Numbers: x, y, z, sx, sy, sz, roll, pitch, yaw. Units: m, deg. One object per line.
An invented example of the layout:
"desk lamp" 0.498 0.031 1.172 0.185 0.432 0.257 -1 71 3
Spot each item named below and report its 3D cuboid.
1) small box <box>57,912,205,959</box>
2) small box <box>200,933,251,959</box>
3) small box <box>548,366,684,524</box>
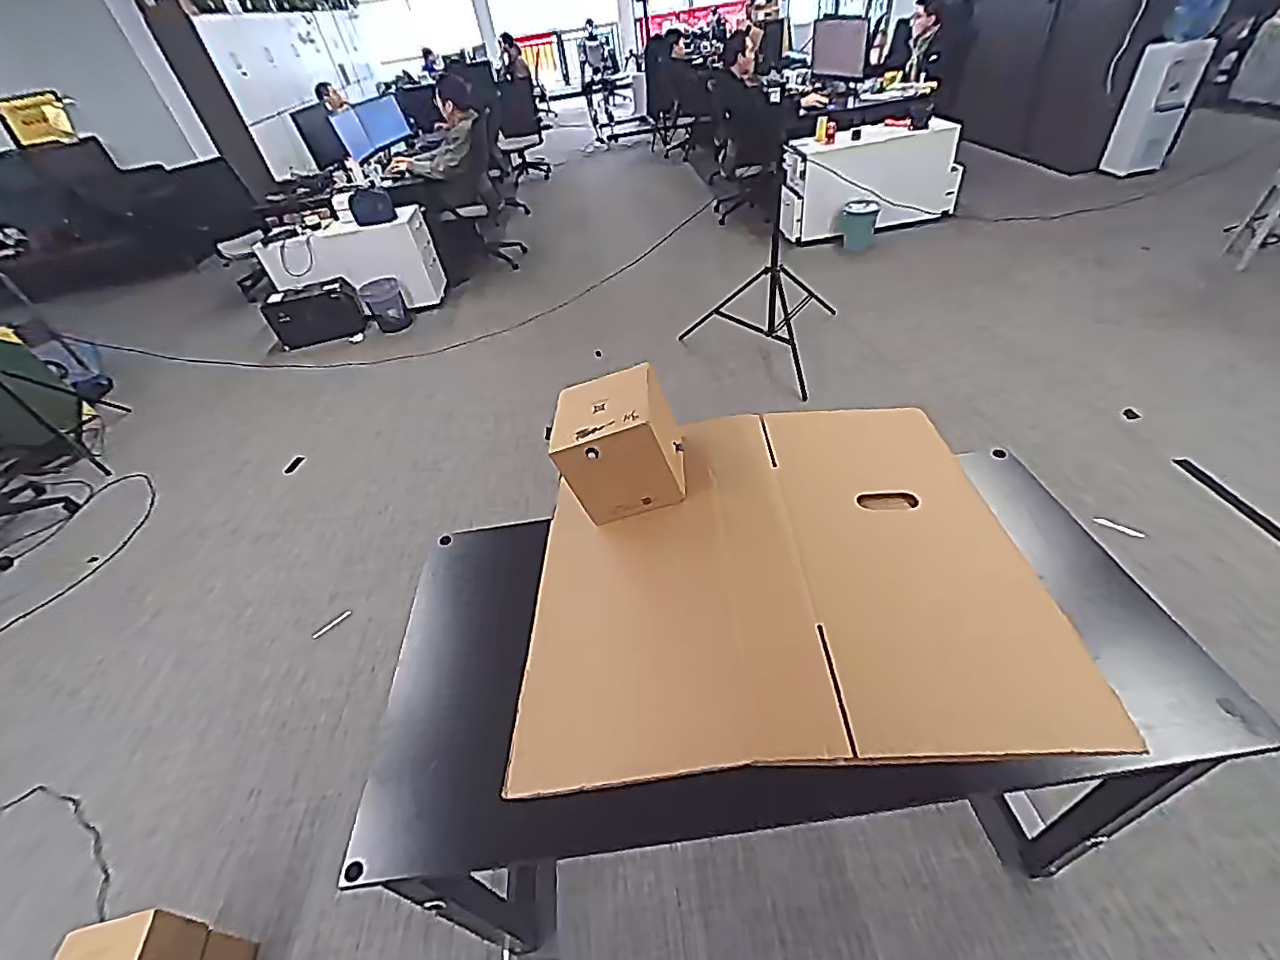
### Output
"small box" -0.986 0.968 1.029 0.168 0.176 0.179 -13 40 -5
"small box" -0.963 1.091 1.132 0.168 0.176 0.179 -12 42 -2
"small box" -0.032 -0.056 0.903 0.168 0.176 0.179 -17 38 15
